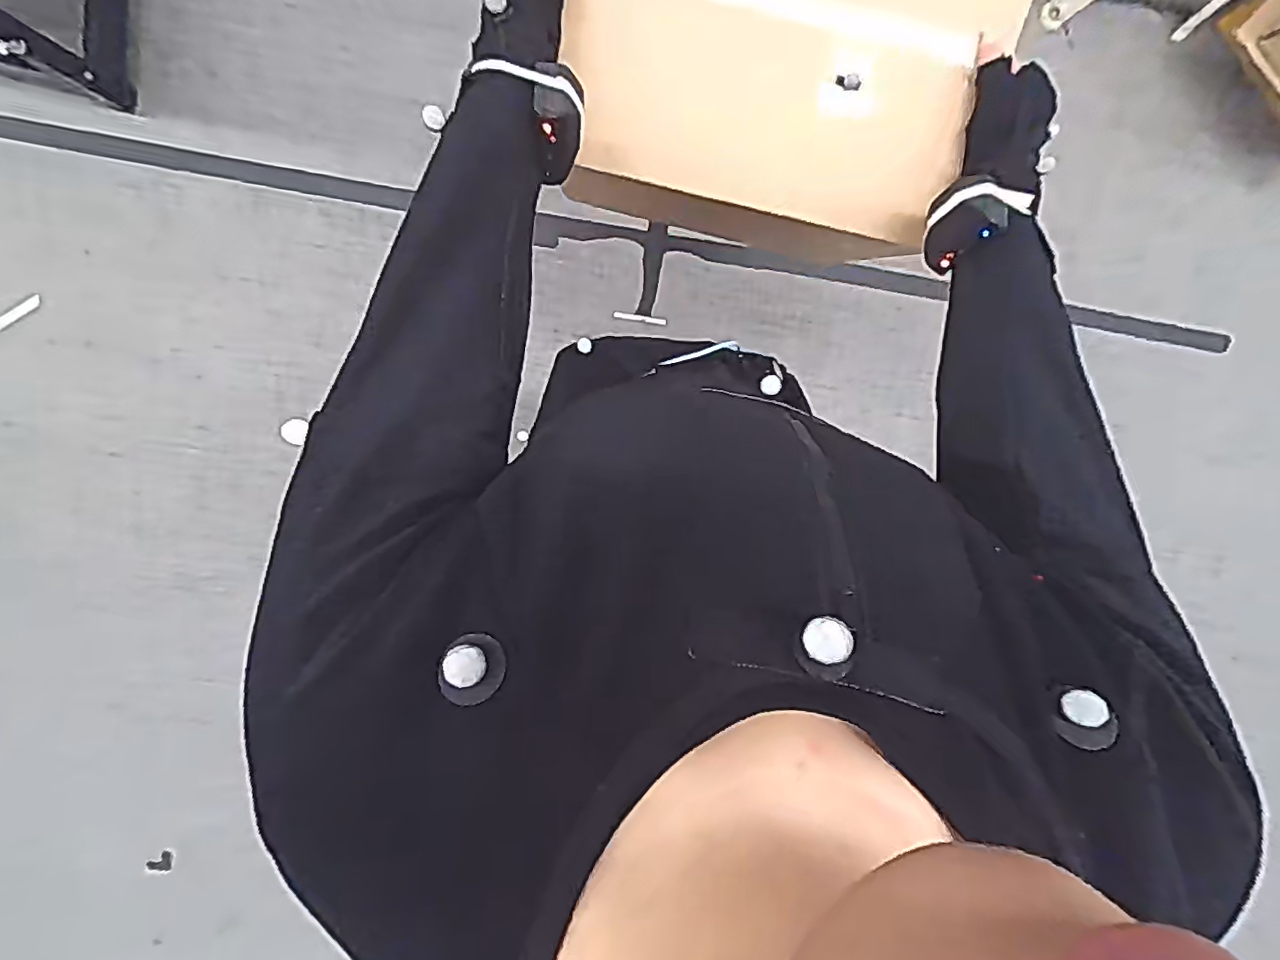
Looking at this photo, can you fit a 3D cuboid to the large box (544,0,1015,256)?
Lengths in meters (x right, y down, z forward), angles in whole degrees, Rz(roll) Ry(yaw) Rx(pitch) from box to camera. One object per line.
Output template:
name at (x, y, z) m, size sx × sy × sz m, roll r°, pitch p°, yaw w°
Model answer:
large box at (0.122, -0.464, 0.622) m, size 0.408 × 0.320 × 0.320 m, roll 10°, pitch 111°, yaw -6°
